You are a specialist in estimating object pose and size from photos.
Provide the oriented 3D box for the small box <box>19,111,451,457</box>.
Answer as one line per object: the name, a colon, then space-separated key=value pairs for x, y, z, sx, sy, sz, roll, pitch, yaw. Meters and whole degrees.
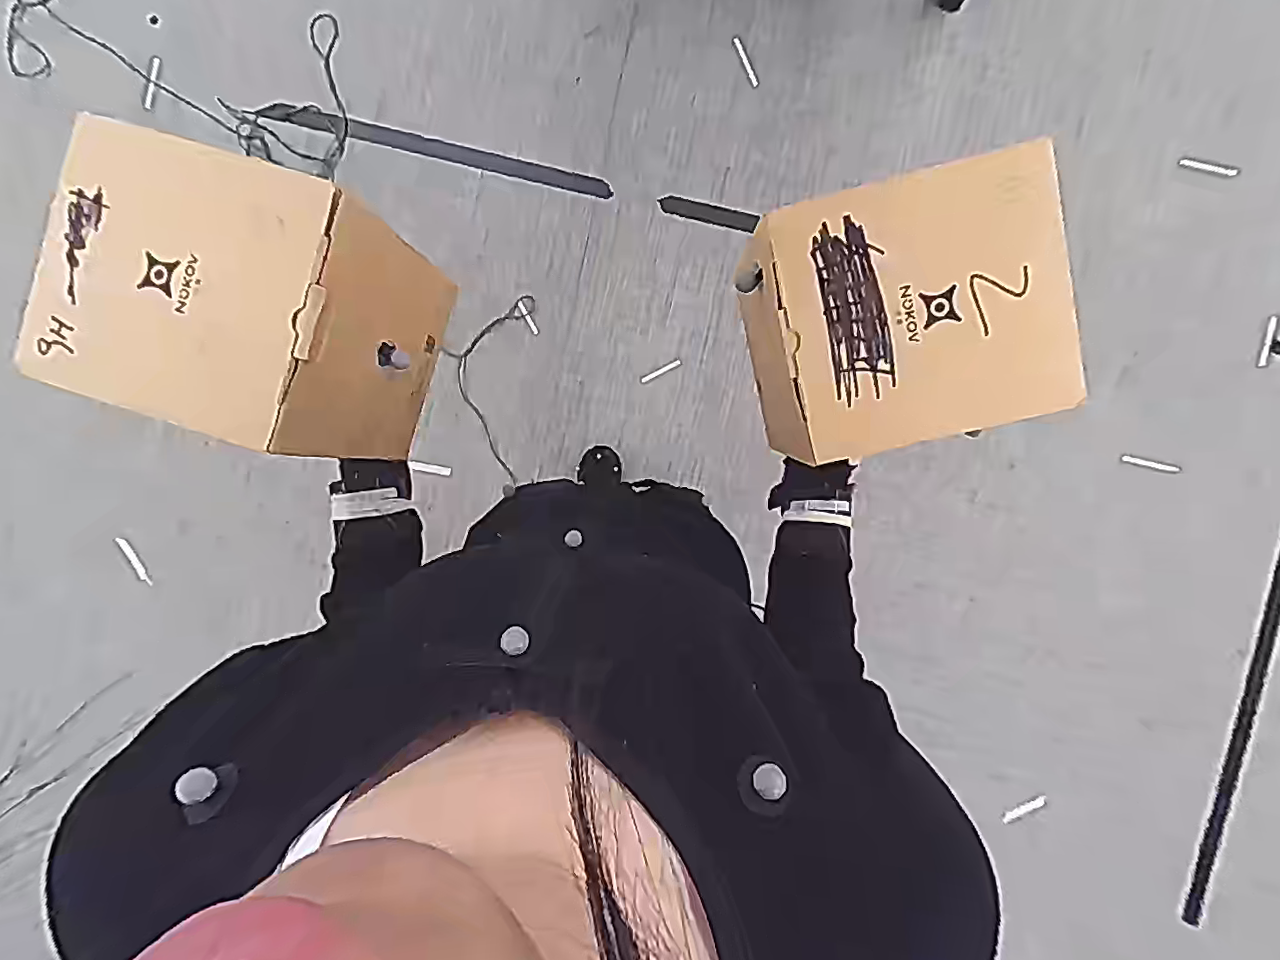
small box: x=-0.268 y=-0.120 z=0.402 sx=0.179 sy=0.176 sz=0.168 roll=18 pitch=92 yaw=2
